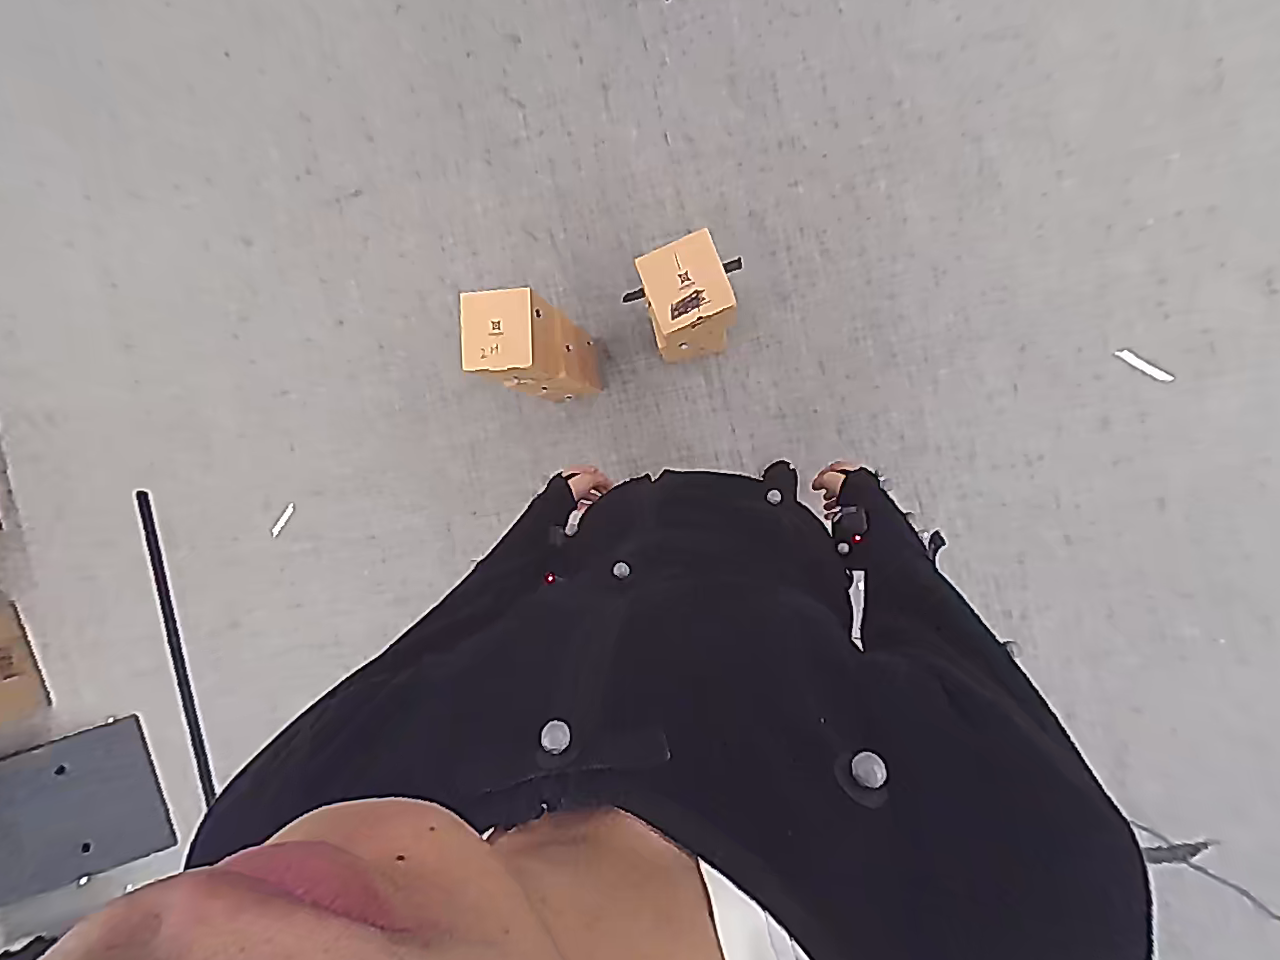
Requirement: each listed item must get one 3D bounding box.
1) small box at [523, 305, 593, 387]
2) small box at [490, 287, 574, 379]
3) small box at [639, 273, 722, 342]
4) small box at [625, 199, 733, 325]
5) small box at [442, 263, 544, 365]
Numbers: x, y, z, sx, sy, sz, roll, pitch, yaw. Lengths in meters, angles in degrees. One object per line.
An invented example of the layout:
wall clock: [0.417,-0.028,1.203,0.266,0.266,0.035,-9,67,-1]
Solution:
small box: [-0.239,-0.367,1.509,0.168,0.176,0.179,-10,92,11]
small box: [-0.274,-0.361,1.353,0.168,0.176,0.179,-7,93,10]
small box: [0.095,-0.450,1.292,0.168,0.176,0.179,-14,90,9]
small box: [0.087,-0.438,1.127,0.168,0.176,0.179,-21,90,8]
small box: [-0.317,-0.358,1.193,0.168,0.176,0.179,-1,93,10]
